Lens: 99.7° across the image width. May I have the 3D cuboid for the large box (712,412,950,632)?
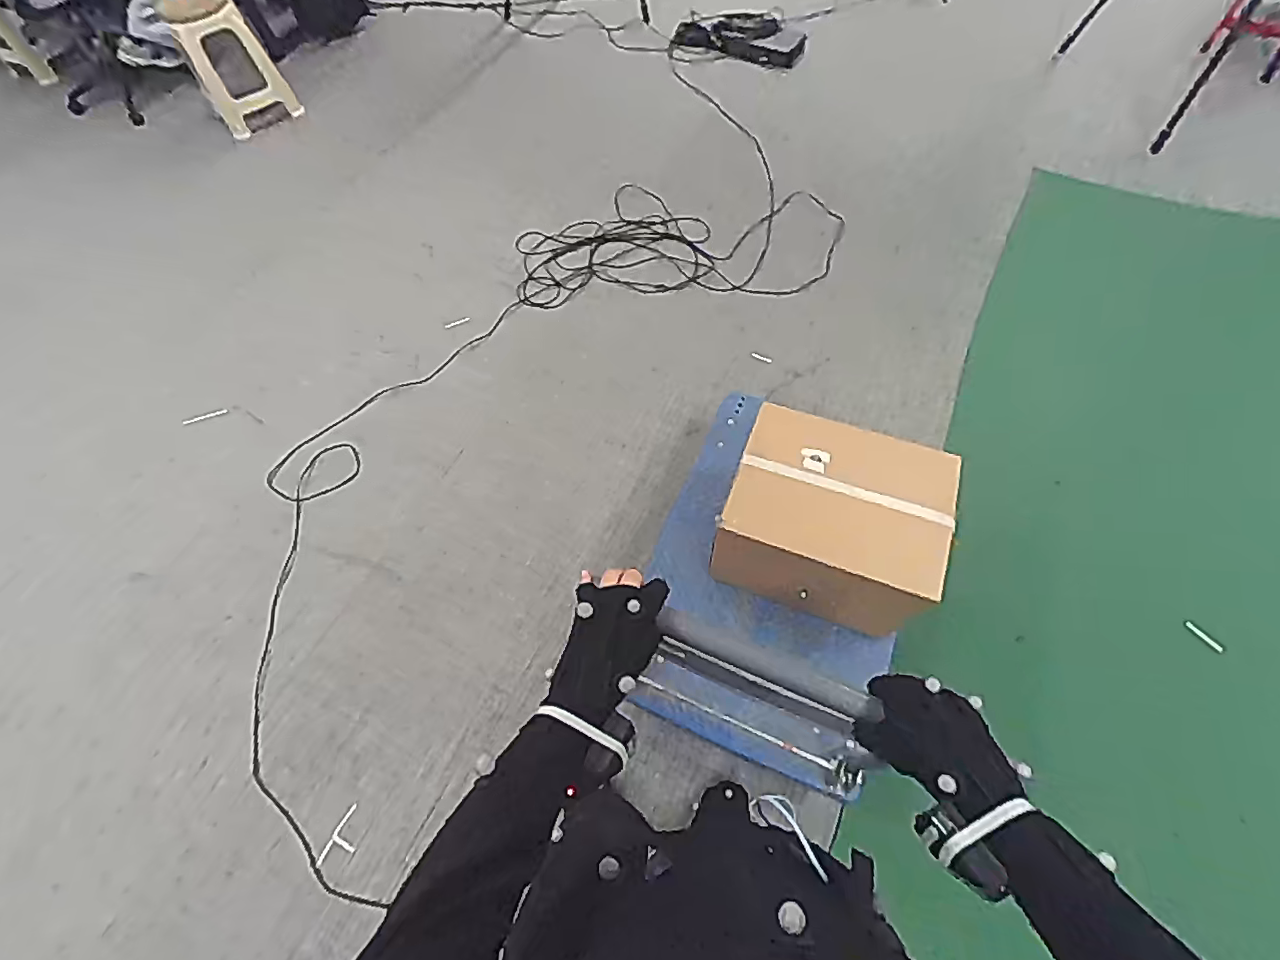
[{"bbox_3d":[0.397,0.100,1.190,0.408,0.320,0.320,17,64,13],"label":"large box"}]
